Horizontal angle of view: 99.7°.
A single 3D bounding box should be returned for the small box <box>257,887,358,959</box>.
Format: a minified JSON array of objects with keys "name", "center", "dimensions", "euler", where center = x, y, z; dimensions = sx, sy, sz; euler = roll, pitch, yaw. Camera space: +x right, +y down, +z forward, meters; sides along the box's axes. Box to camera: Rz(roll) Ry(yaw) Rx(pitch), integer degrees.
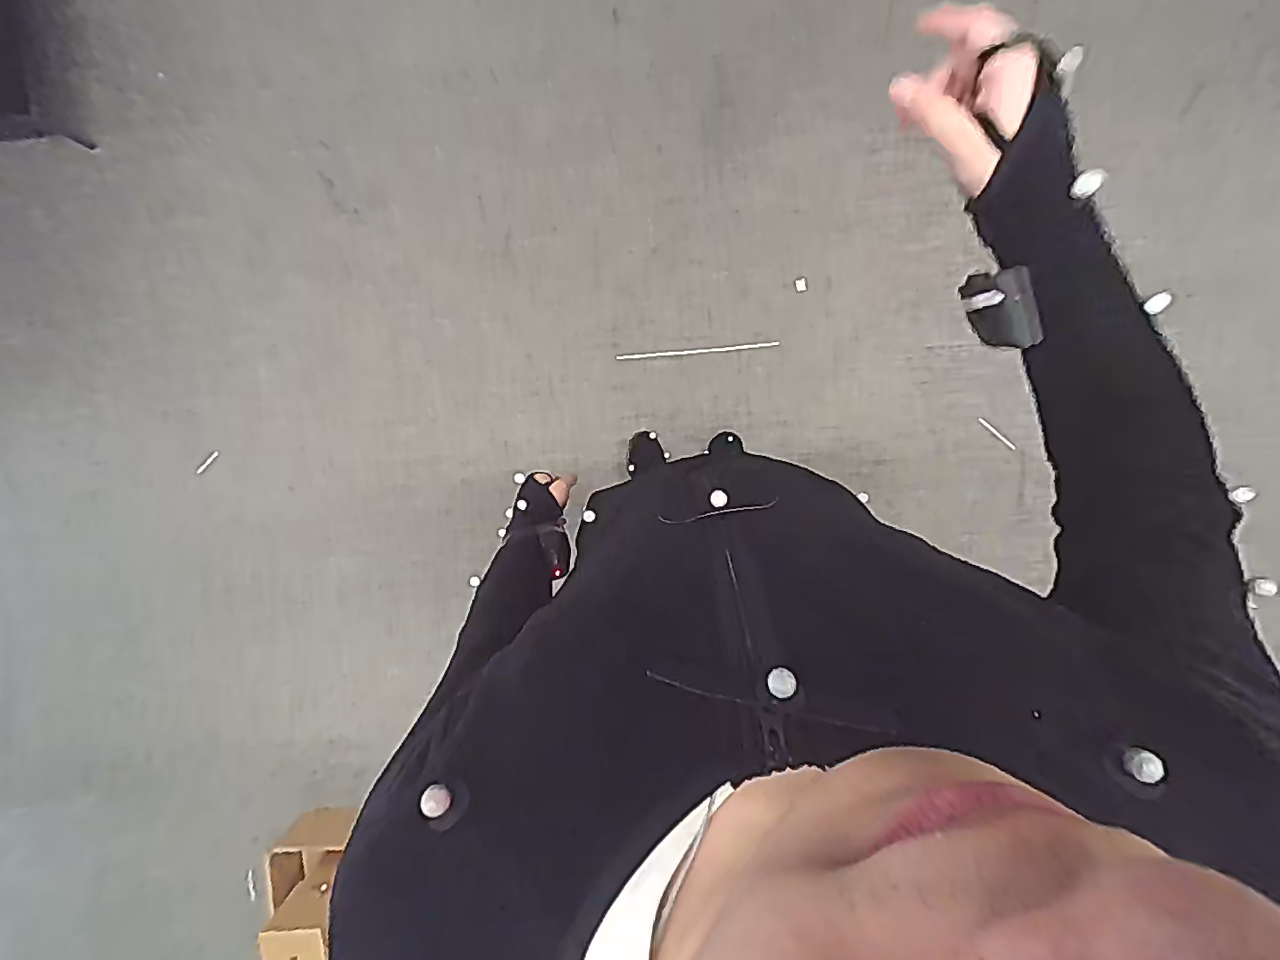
[{"name":"small box","center":[-0.888,1.251,1.462],"dimensions":[0.168,0.176,0.179],"euler":[-4,94,1]}]
